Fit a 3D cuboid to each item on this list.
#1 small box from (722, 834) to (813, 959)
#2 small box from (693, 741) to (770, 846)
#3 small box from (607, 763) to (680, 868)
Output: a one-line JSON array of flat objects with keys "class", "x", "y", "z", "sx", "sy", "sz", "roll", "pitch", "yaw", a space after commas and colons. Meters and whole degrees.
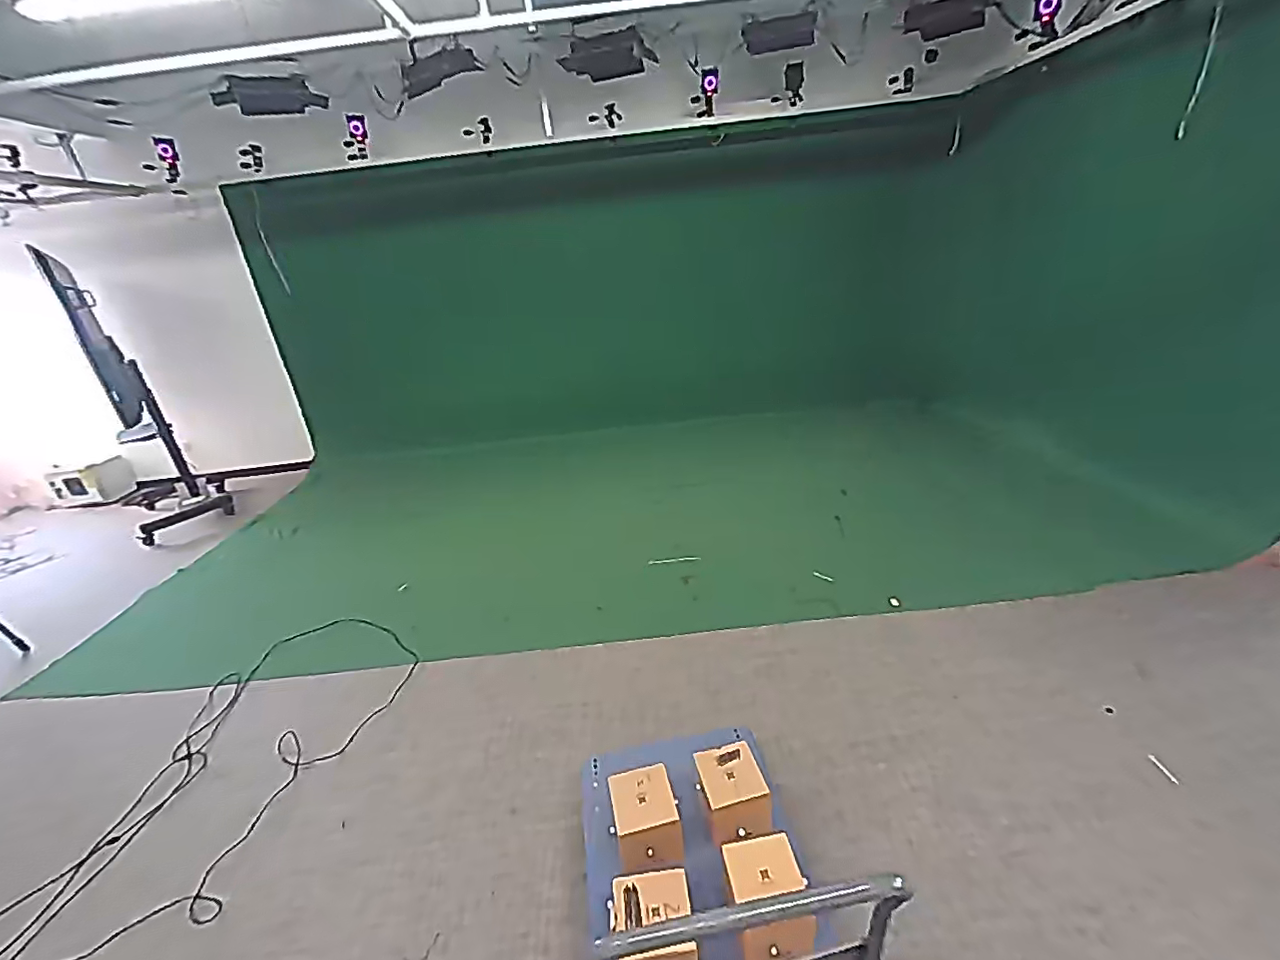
[{"class": "small box", "x": 0.295, "y": 0.991, "z": 1.284, "sx": 0.168, "sy": 0.176, "sz": 0.179, "roll": -8, "pitch": 25, "yaw": -4}, {"class": "small box", "x": 0.255, "y": 0.883, "z": 1.529, "sx": 0.168, "sy": 0.176, "sz": 0.179, "roll": -11, "pitch": 26, "yaw": -8}, {"class": "small box", "x": 0.010, "y": 0.928, "z": 1.489, "sx": 0.168, "sy": 0.176, "sz": 0.179, "roll": -9, "pitch": 24, "yaw": -9}]
